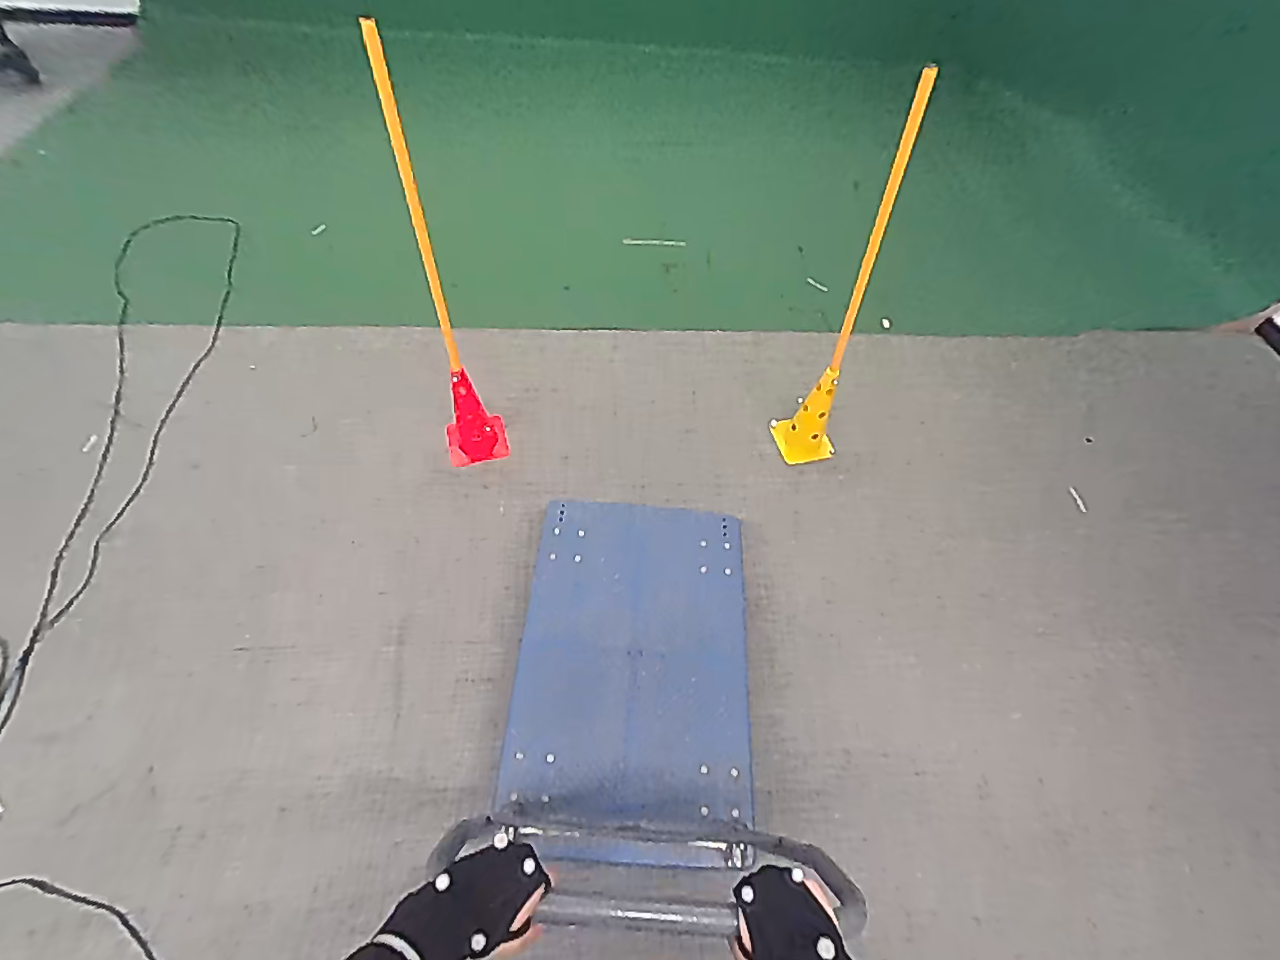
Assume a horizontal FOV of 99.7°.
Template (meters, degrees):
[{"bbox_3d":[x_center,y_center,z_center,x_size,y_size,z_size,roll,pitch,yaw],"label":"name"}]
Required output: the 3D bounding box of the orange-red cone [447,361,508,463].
[{"bbox_3d":[-0.571,-0.248,1.778,0.199,0.360,0.198,-13,57,-11],"label":"orange-red cone"}]
